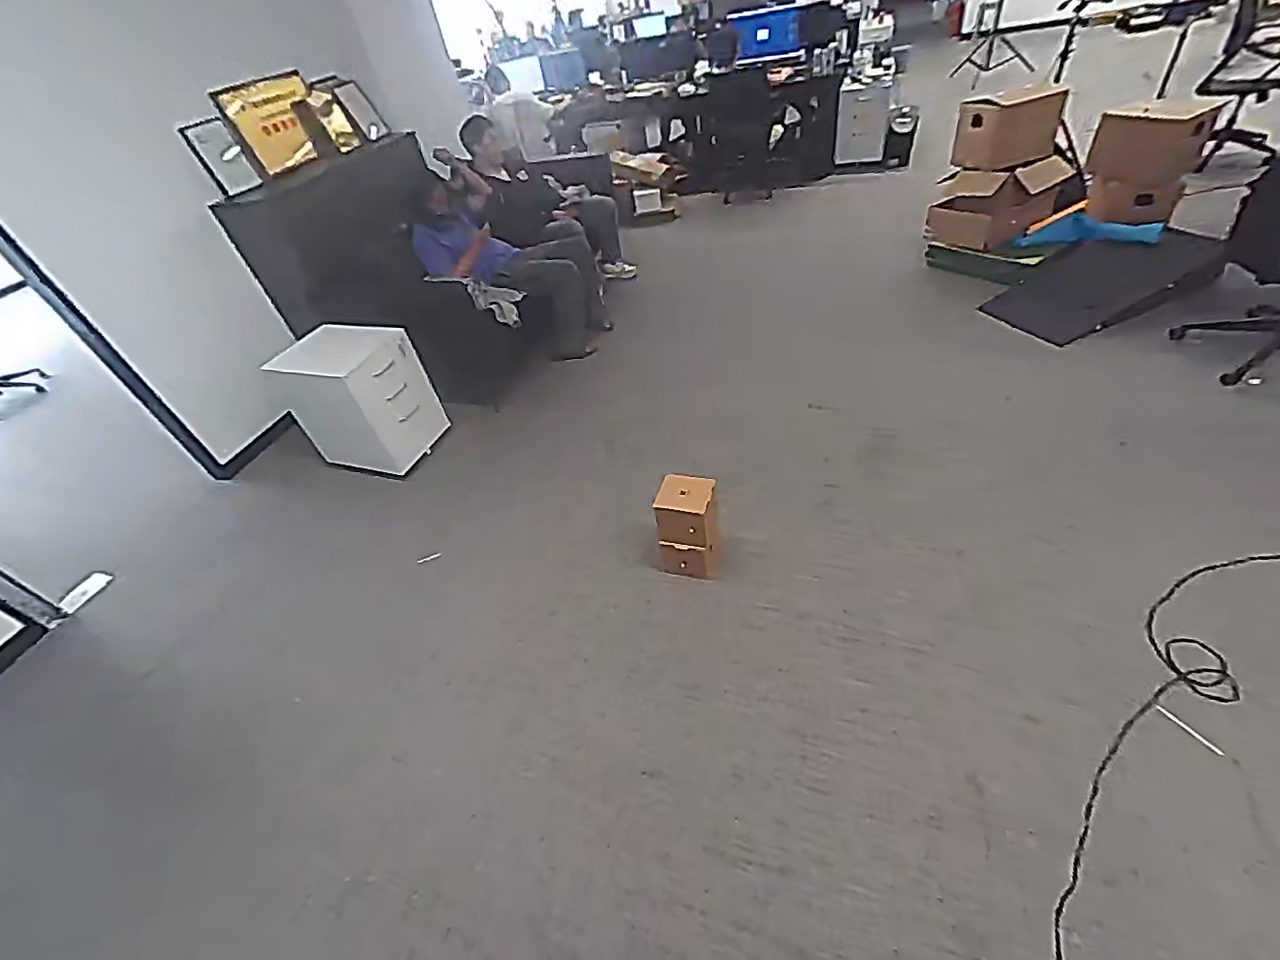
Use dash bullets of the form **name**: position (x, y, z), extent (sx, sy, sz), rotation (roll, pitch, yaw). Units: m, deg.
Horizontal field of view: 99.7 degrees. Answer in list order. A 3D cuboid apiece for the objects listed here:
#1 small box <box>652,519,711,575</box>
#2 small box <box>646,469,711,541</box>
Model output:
- **small box**: position (0.157, 0.221, 1.954), extent (0.168, 0.176, 0.179), rotation (5, 45, 19)
- **small box**: position (0.138, 0.087, 1.833), extent (0.179, 0.176, 0.168), rotation (6, 44, 20)
